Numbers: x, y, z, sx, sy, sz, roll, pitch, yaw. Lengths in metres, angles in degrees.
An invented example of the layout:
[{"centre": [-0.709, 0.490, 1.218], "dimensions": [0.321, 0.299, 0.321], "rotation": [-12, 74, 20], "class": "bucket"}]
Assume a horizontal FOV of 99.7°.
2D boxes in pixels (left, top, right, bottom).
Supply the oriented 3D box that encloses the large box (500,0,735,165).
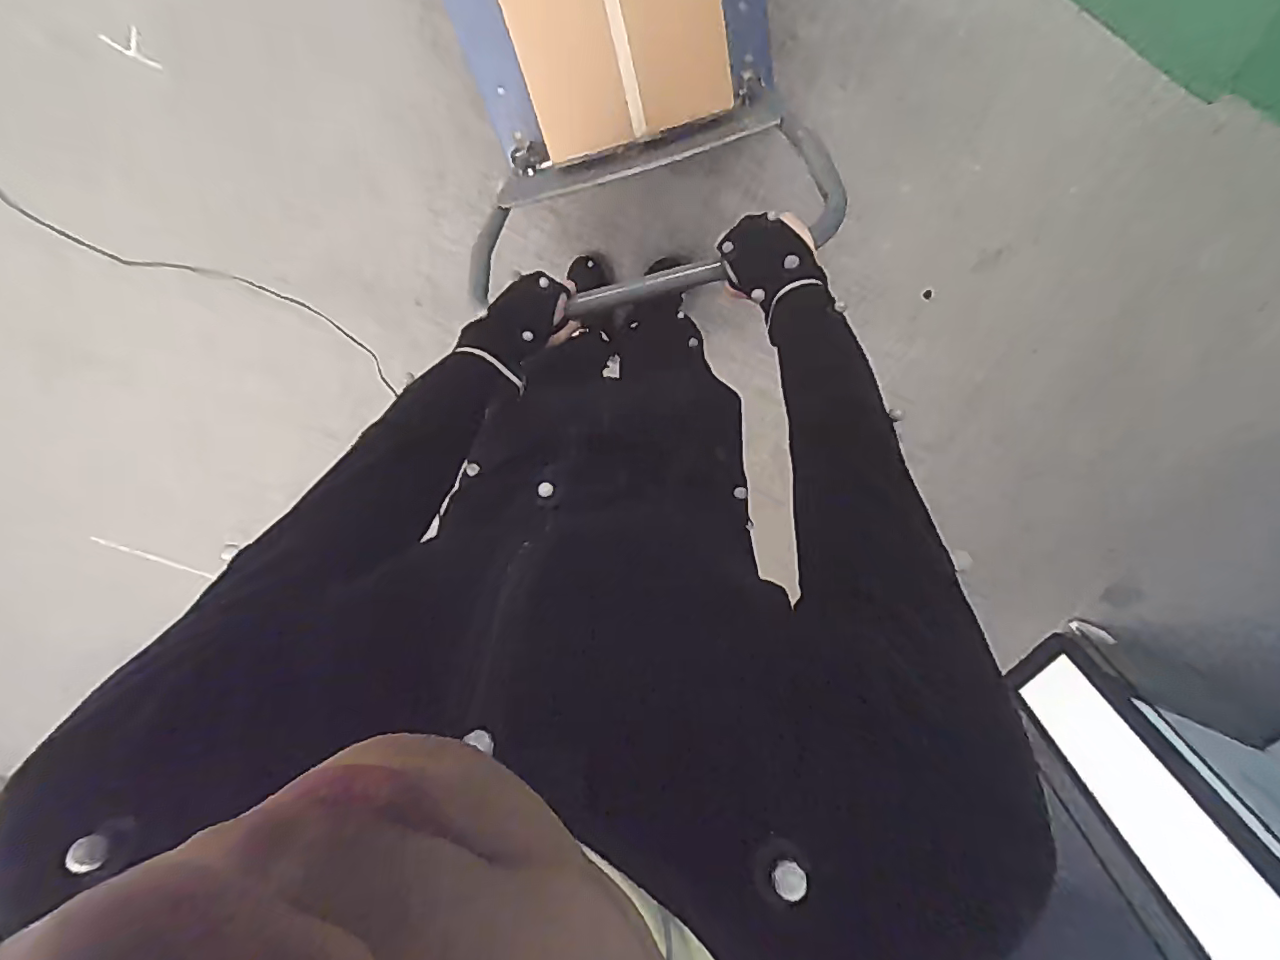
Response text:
[{"centre": [-0.047, -0.804, 0.882], "dimensions": [0.320, 0.320, 0.408], "rotation": [-12, 129, 9], "class": "large box"}]
